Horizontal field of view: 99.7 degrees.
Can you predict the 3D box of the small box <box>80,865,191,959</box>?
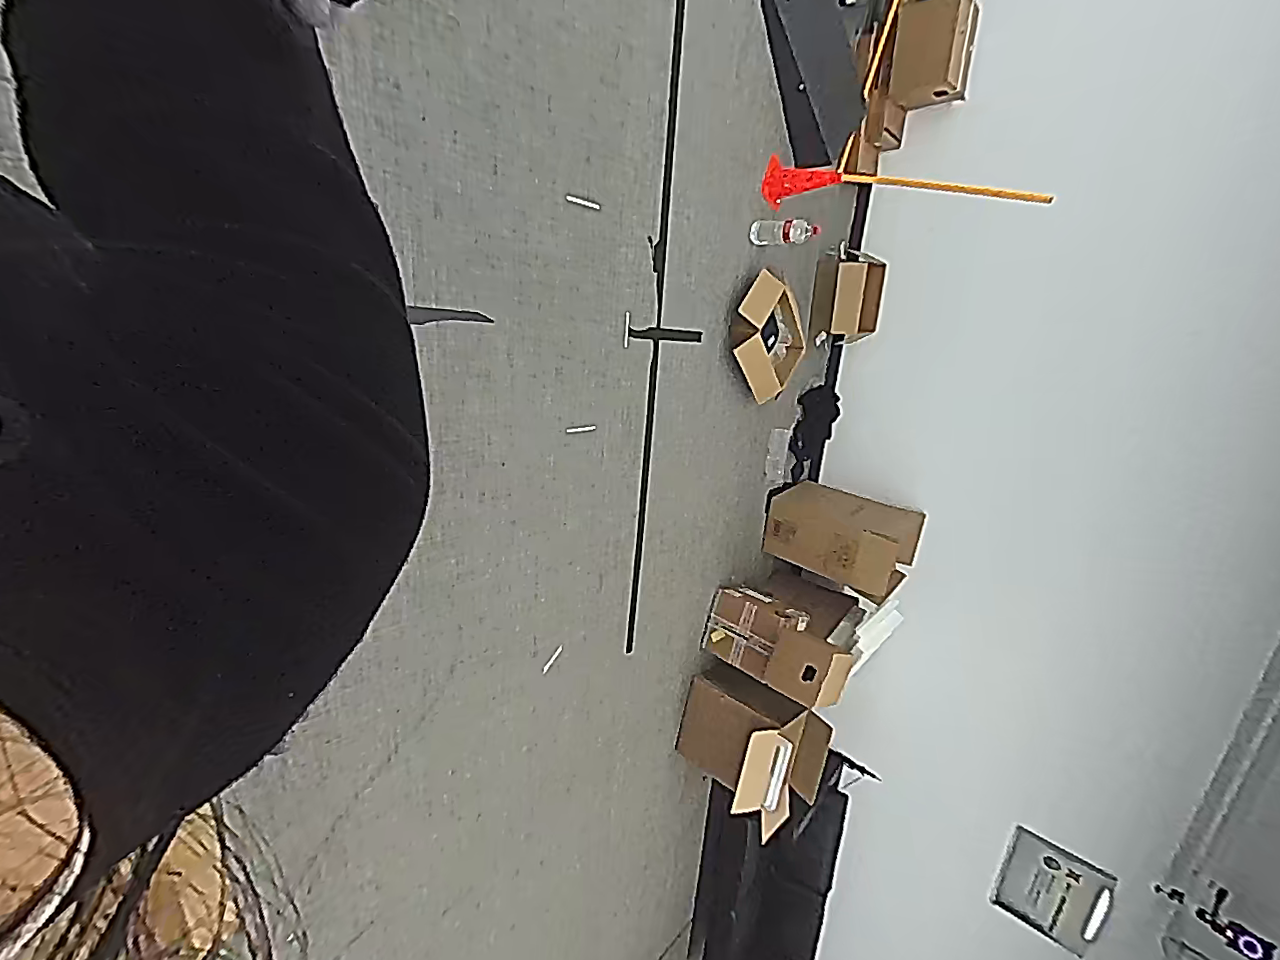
[{"bbox_3d":[-1.203,1.071,1.290,0.168,0.176,0.179,-11,113,-47],"label":"small box"}]
